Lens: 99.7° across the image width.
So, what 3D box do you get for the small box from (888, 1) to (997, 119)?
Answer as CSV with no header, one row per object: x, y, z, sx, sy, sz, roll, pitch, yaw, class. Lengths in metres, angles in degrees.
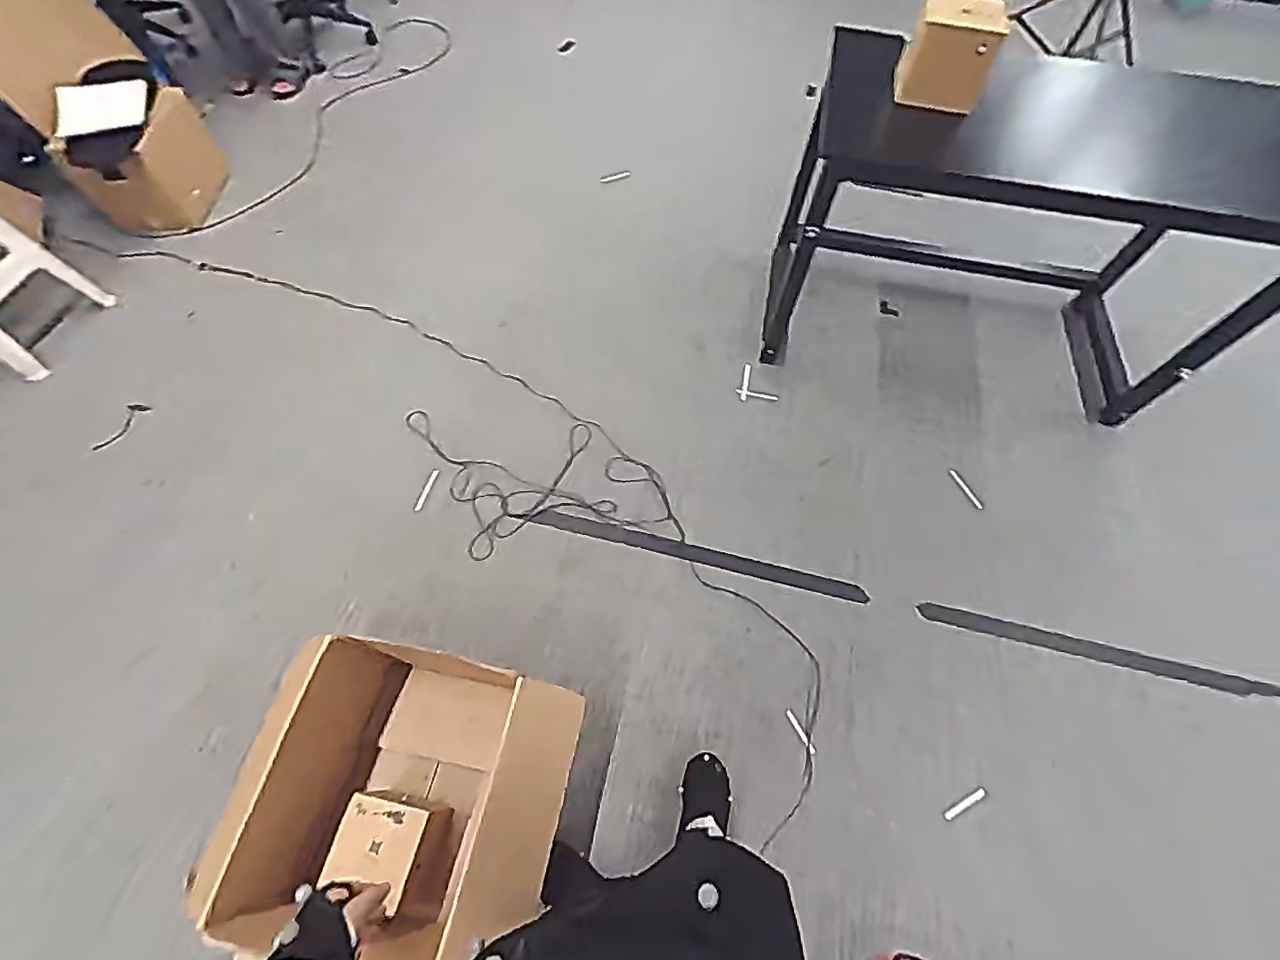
0.717,-1.005,1.302,0.179,0.176,0.168,13,62,5,small box
